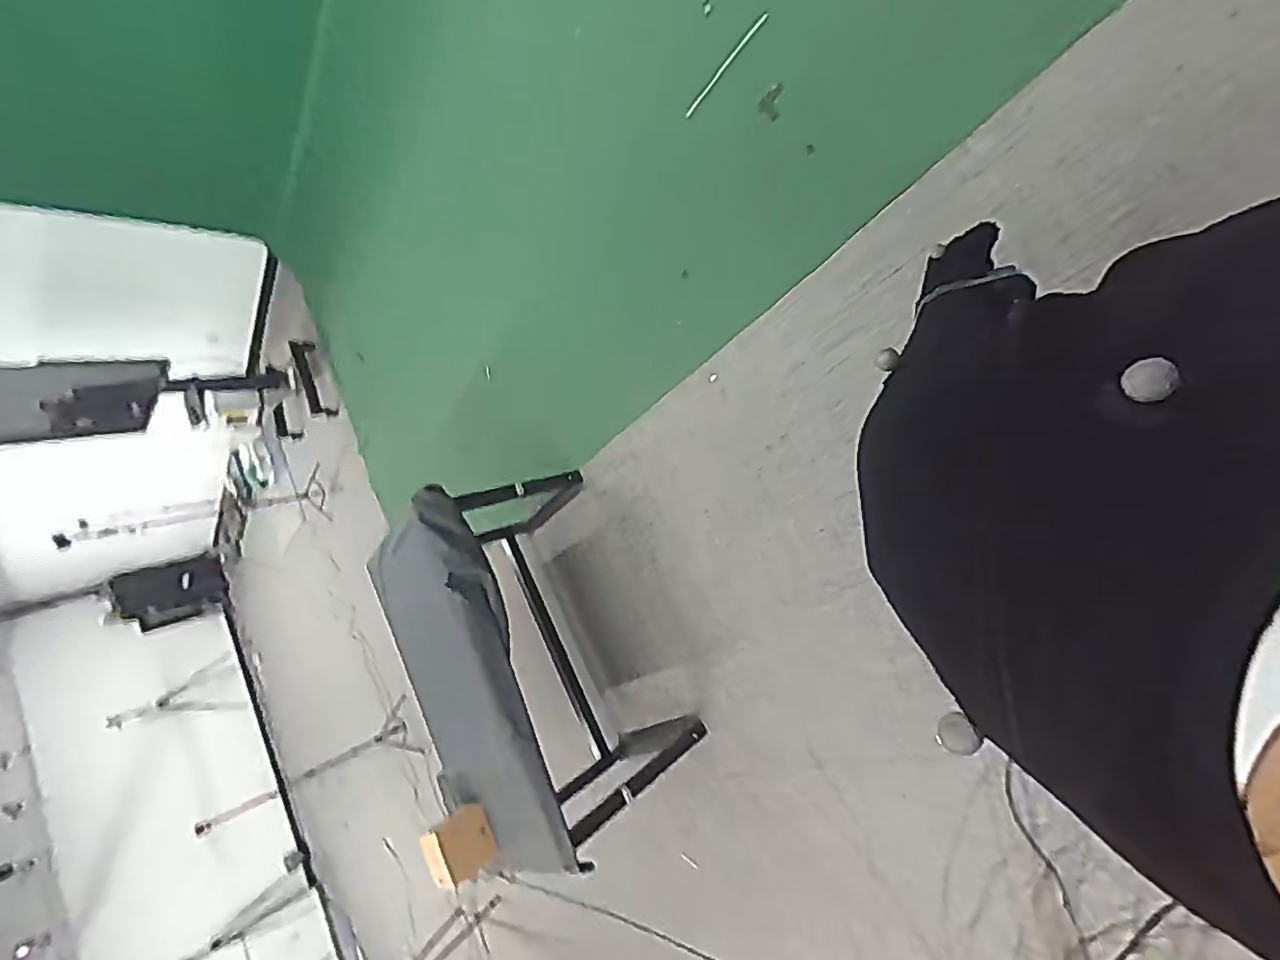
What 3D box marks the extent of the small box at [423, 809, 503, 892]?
[{"bbox_3d":[-0.588,1.224,1.800,0.168,0.176,0.179,-39,72,41],"label":"small box"}]
